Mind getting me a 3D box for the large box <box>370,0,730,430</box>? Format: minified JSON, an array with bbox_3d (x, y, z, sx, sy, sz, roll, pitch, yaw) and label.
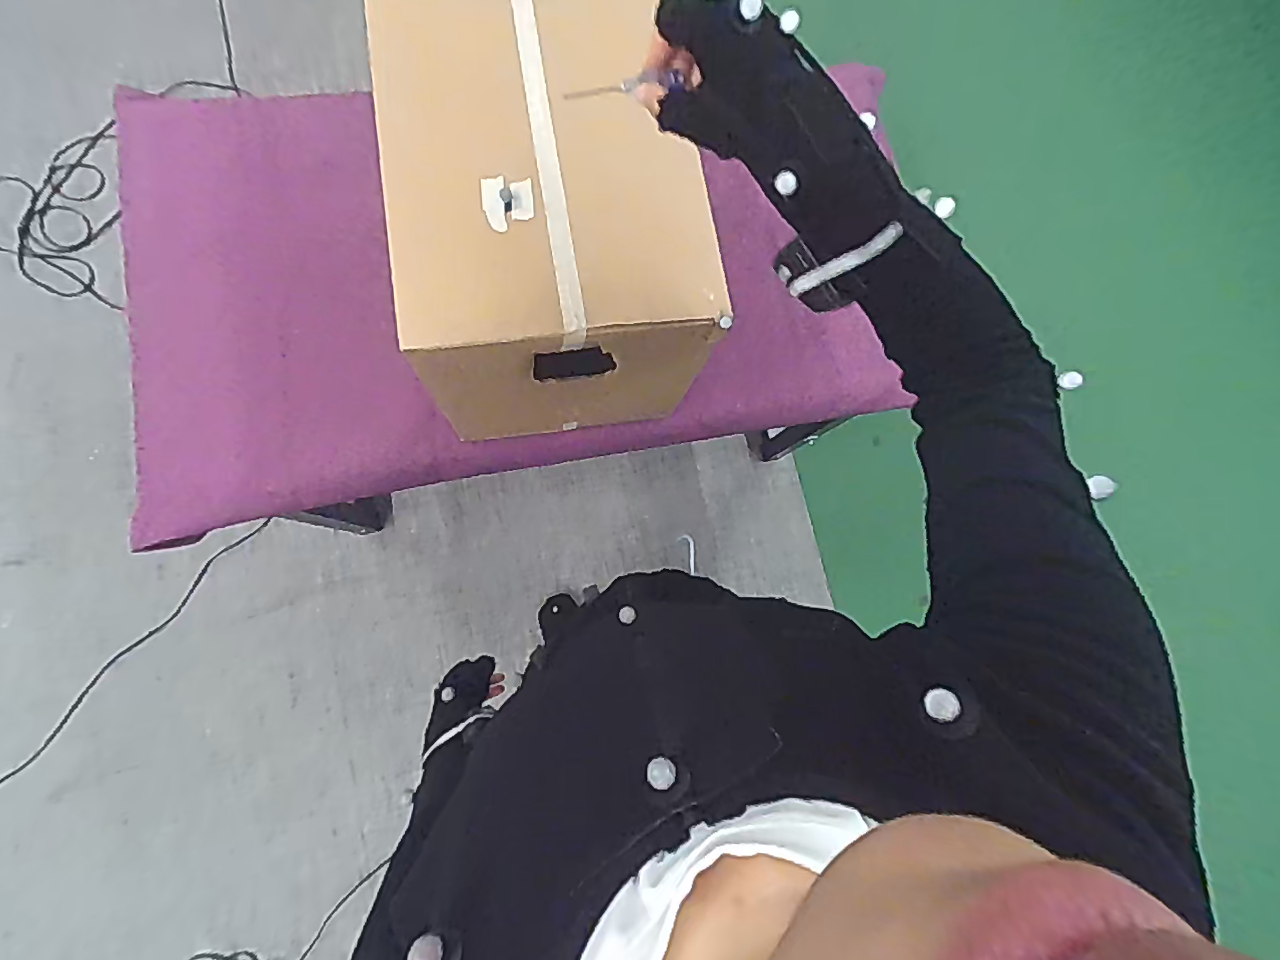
[{"bbox_3d":[-0.115,-0.310,0.691,0.320,0.320,0.408,-8,81,-10],"label":"large box"}]
